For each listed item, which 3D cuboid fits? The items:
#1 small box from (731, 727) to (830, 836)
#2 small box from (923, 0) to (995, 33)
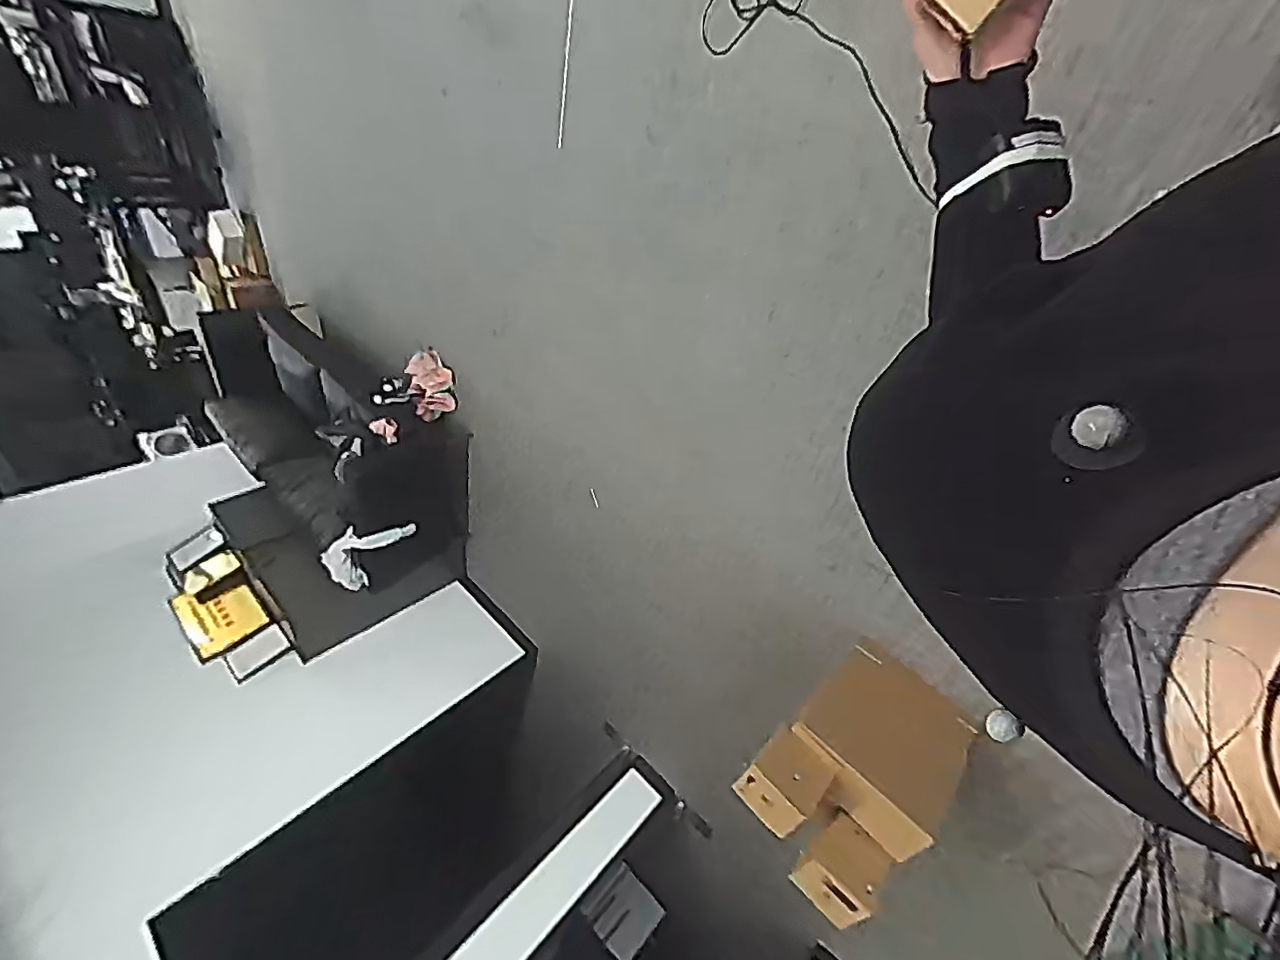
[{"bbox_3d":[0.392,0.830,1.500,0.179,0.176,0.168,40,132,24],"label":"small box"},{"bbox_3d":[0.205,-0.411,0.315,0.179,0.168,0.176,41,137,-3],"label":"small box"}]
